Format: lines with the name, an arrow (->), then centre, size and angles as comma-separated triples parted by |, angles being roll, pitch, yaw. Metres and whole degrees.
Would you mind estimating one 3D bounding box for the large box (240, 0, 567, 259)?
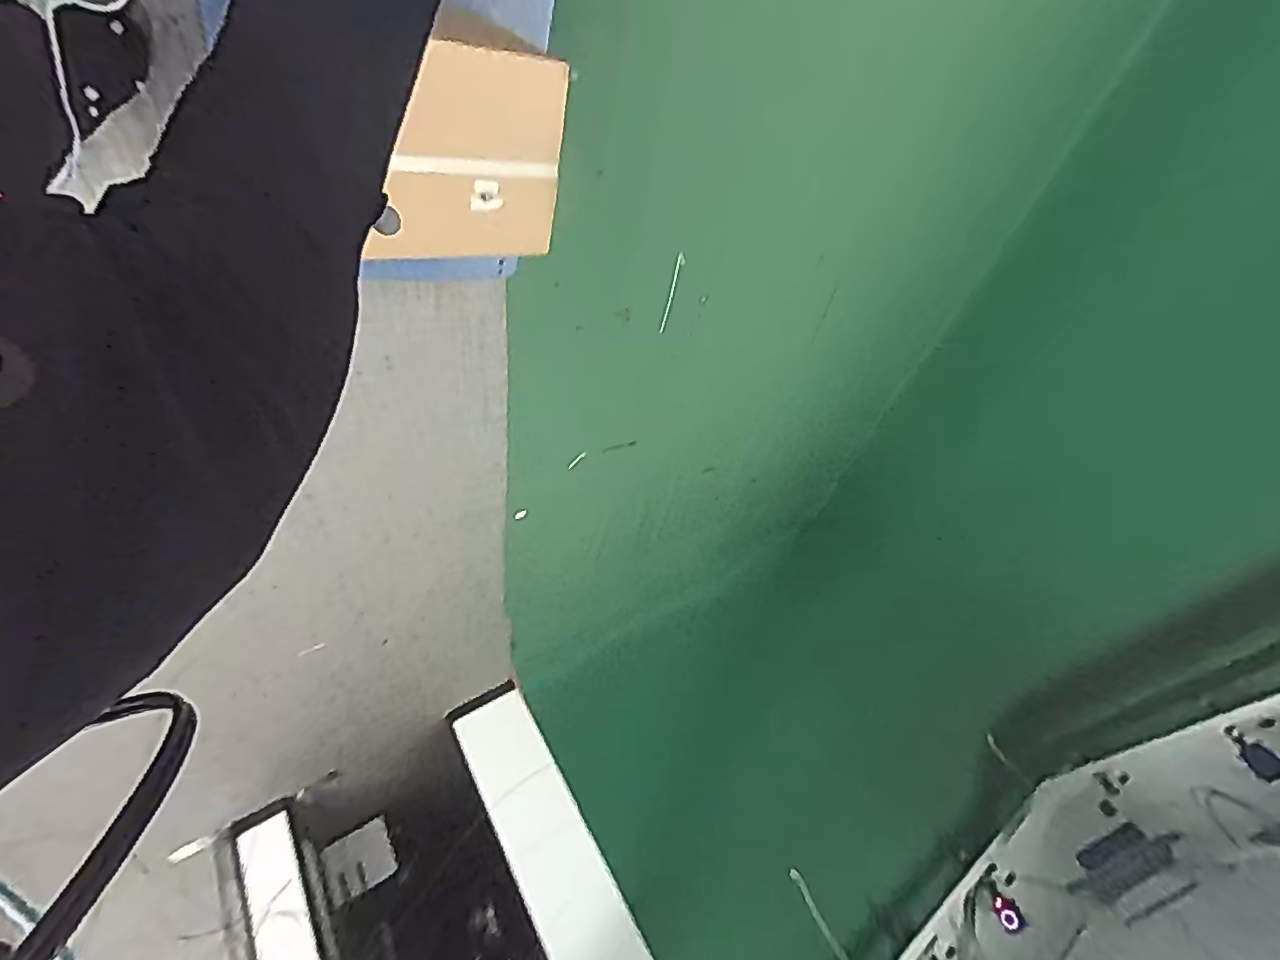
large box -> -0.388, -0.612, 0.928 | 0.408, 0.320, 0.320 | -20, 146, -32
